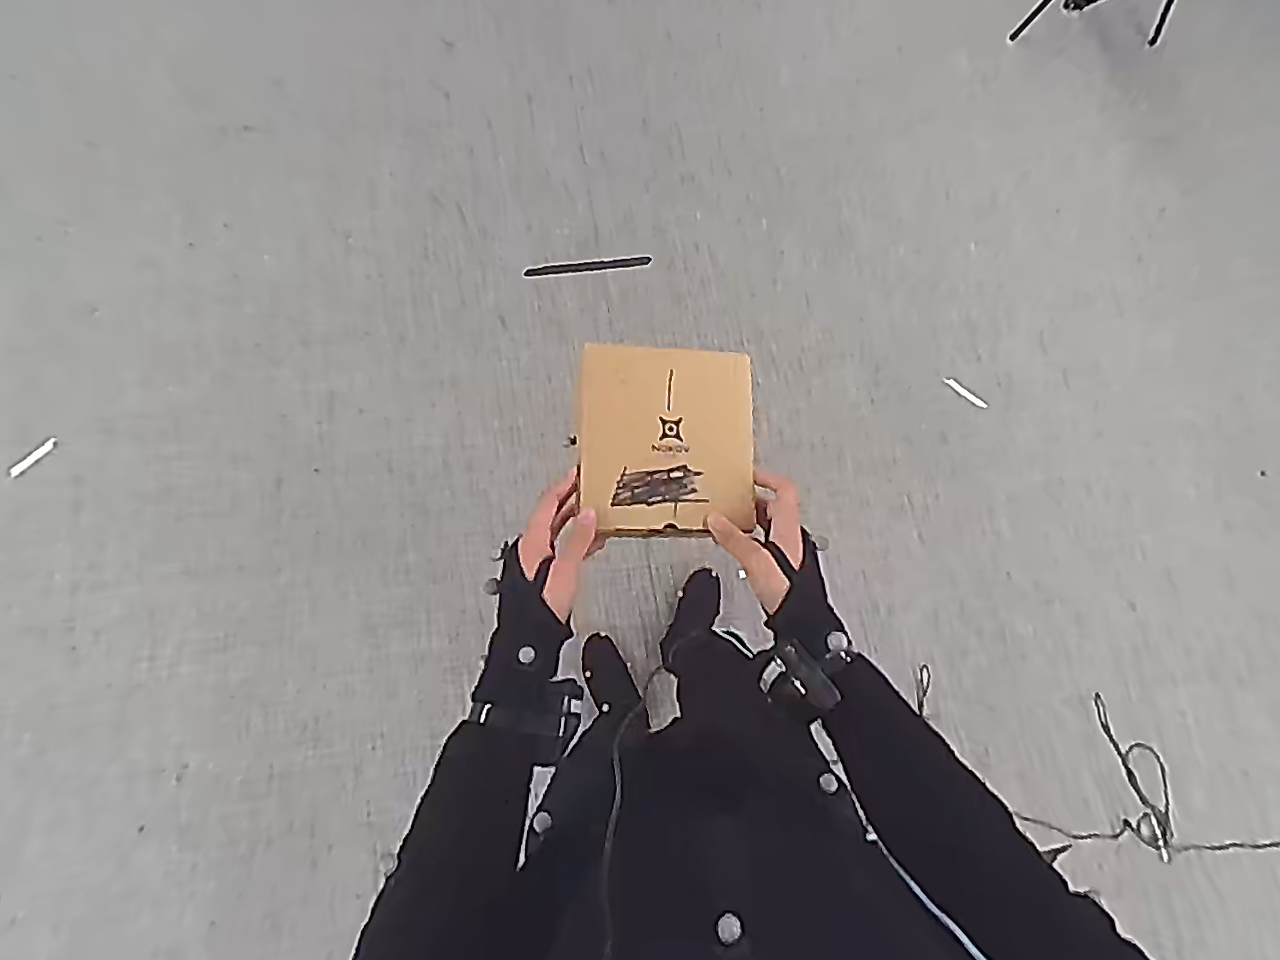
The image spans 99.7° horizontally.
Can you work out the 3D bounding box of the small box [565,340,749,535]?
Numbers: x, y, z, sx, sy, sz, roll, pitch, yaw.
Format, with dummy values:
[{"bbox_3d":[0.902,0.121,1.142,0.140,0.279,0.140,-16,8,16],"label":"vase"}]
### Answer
[{"bbox_3d":[0.008,-0.031,0.577,0.168,0.176,0.179,1,82,-11],"label":"small box"}]
